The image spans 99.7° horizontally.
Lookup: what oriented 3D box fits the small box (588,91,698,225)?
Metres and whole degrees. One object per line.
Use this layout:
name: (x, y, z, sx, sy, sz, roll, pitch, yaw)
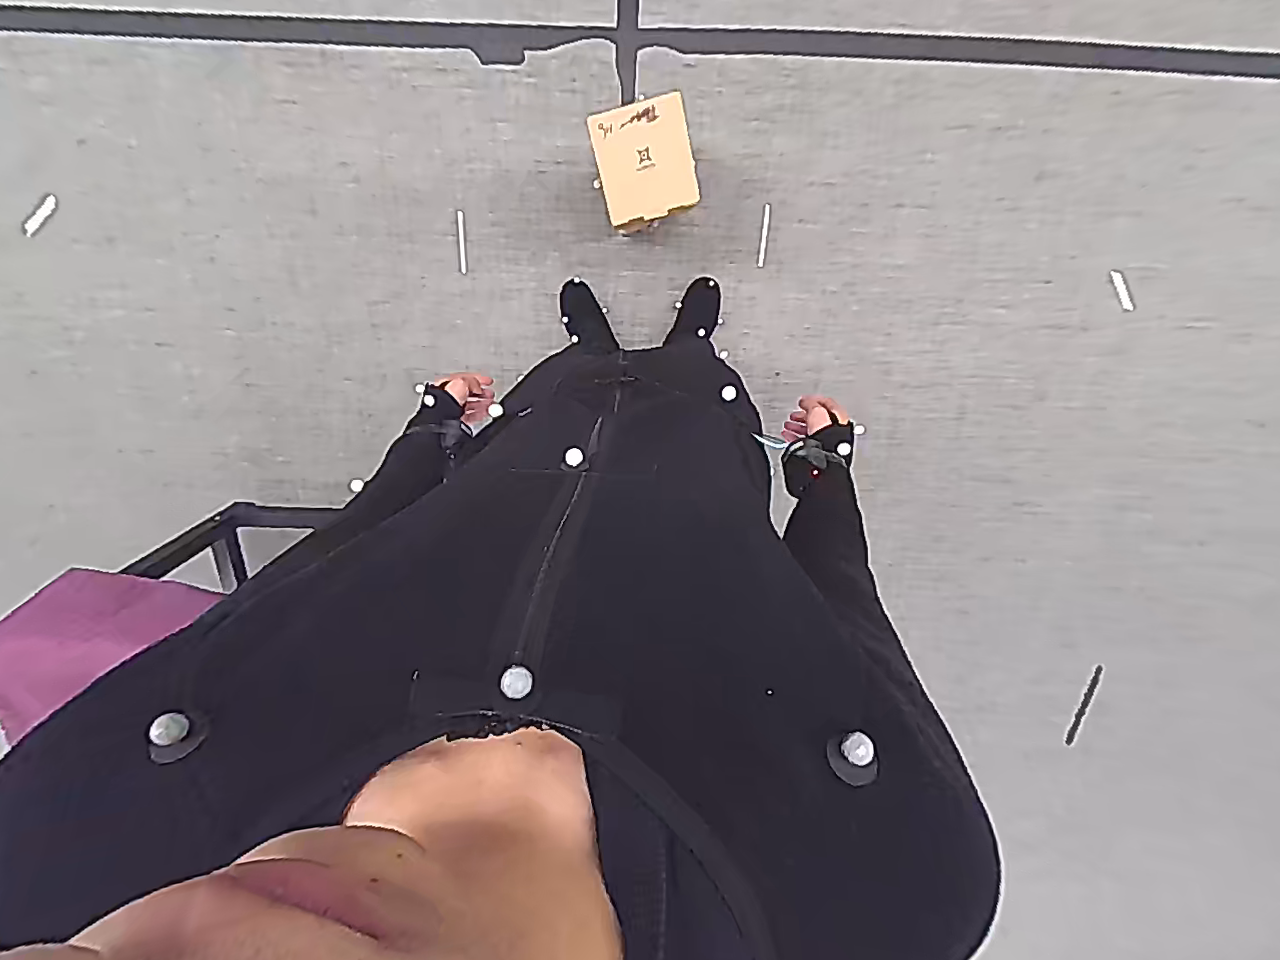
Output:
small box: (0.008, -0.590, 1.016, 0.168, 0.176, 0.179, -13, 113, 4)
